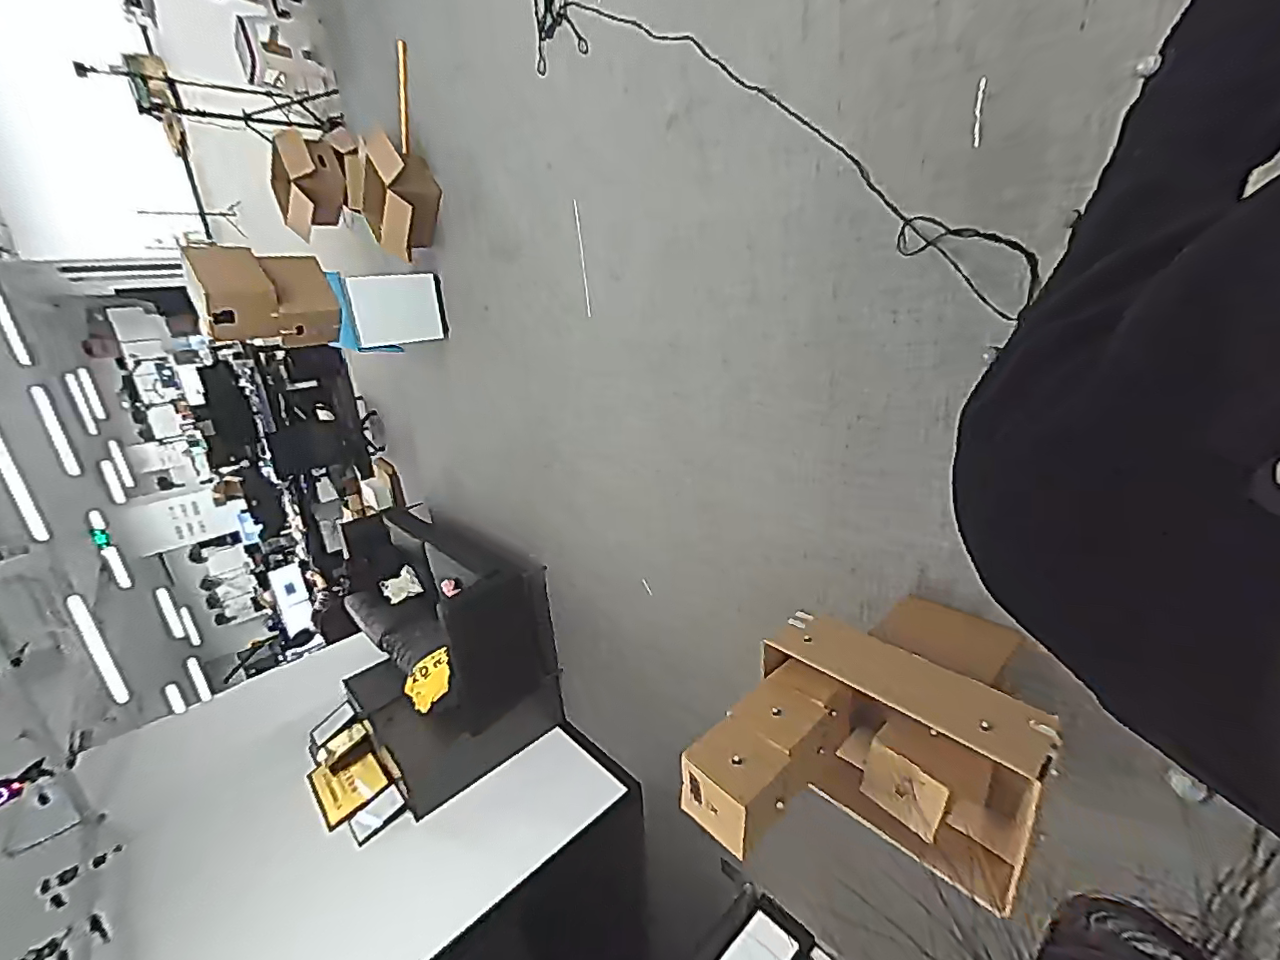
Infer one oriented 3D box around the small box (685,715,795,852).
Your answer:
[{"bbox_3d":[0.220,0.661,1.208,0.179,0.176,0.168,21,122,43],"label":"small box"}]
